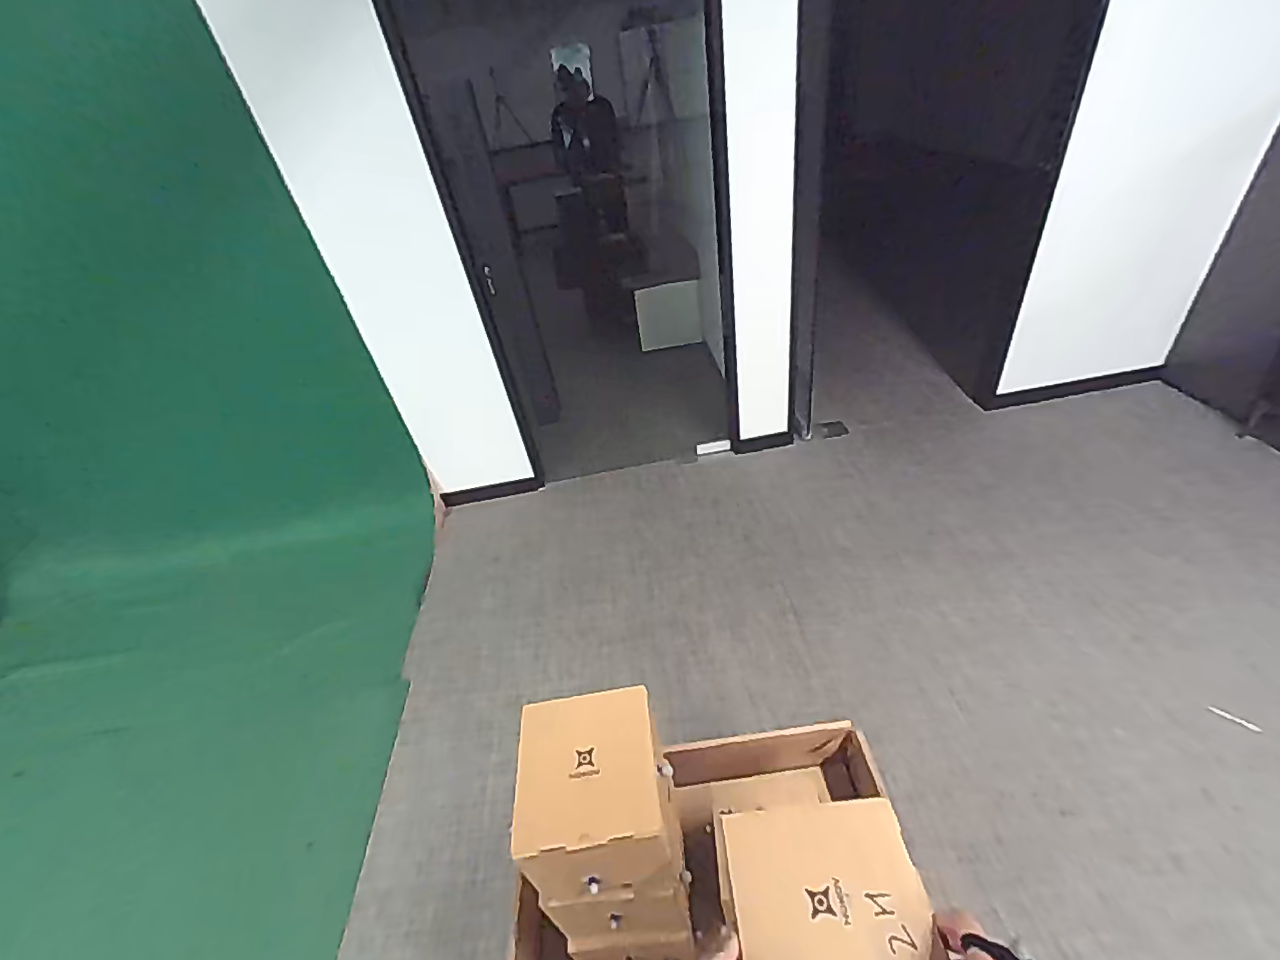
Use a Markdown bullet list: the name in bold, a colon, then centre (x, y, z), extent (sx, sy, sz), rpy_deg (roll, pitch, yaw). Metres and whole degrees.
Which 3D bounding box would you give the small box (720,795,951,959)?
- **small box**: centre (0.181, 0.442, 0.536), extent (0.179, 0.176, 0.168), rpy_deg (-7, 38, 3)

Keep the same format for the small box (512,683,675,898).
- **small box**: centre (-0.052, 0.391, 0.687), extent (0.168, 0.176, 0.179), rpy_deg (-10, 38, 1)
